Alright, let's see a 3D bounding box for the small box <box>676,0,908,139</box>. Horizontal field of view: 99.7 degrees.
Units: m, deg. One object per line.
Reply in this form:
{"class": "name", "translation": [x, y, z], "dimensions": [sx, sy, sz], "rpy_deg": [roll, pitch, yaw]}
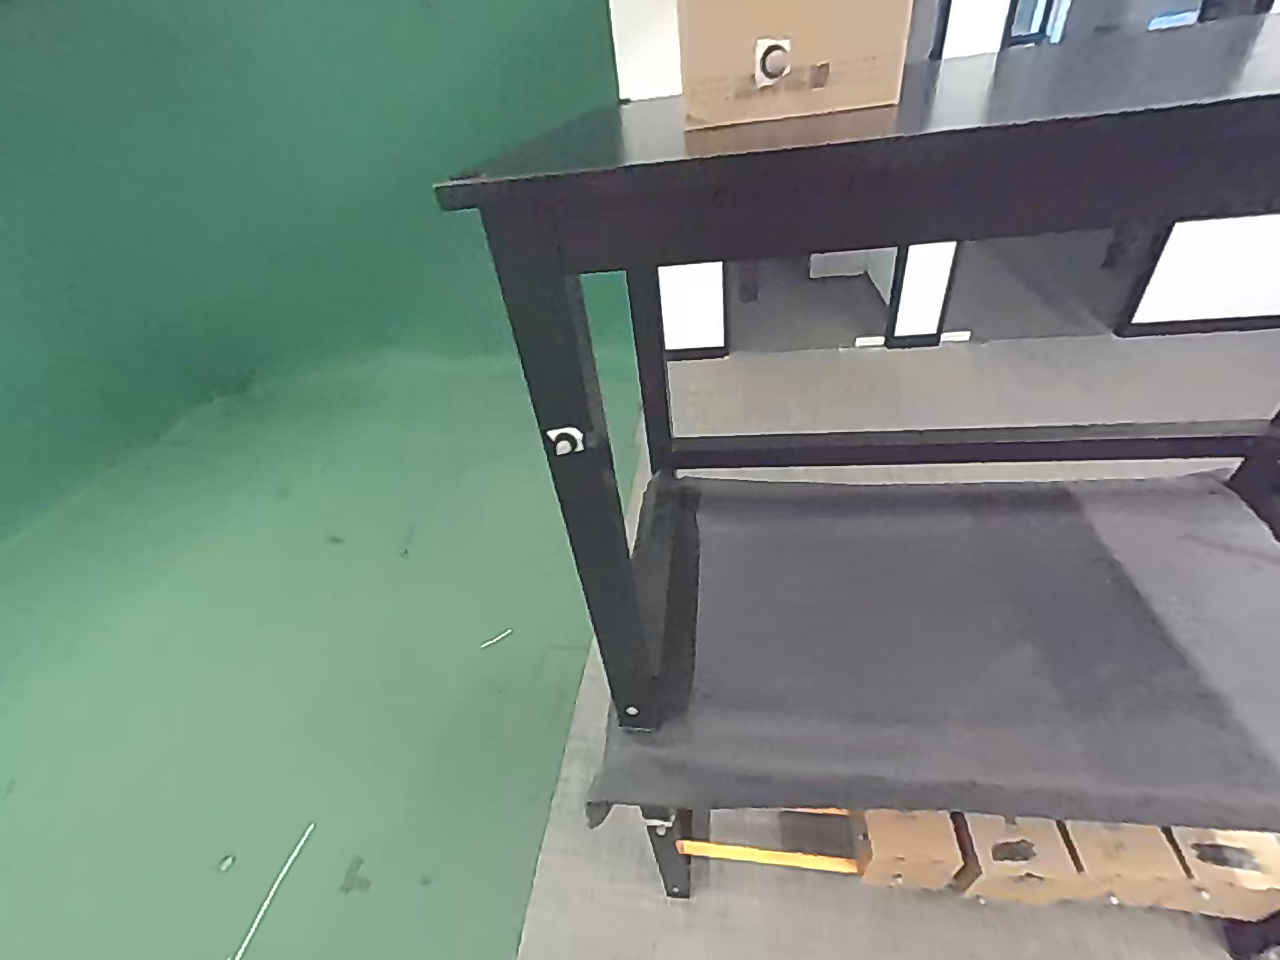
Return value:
{"class": "small box", "translation": [0.115, -0.397, 0.452], "dimensions": [0.168, 0.176, 0.179], "rpy_deg": [-4, 38, 8]}
